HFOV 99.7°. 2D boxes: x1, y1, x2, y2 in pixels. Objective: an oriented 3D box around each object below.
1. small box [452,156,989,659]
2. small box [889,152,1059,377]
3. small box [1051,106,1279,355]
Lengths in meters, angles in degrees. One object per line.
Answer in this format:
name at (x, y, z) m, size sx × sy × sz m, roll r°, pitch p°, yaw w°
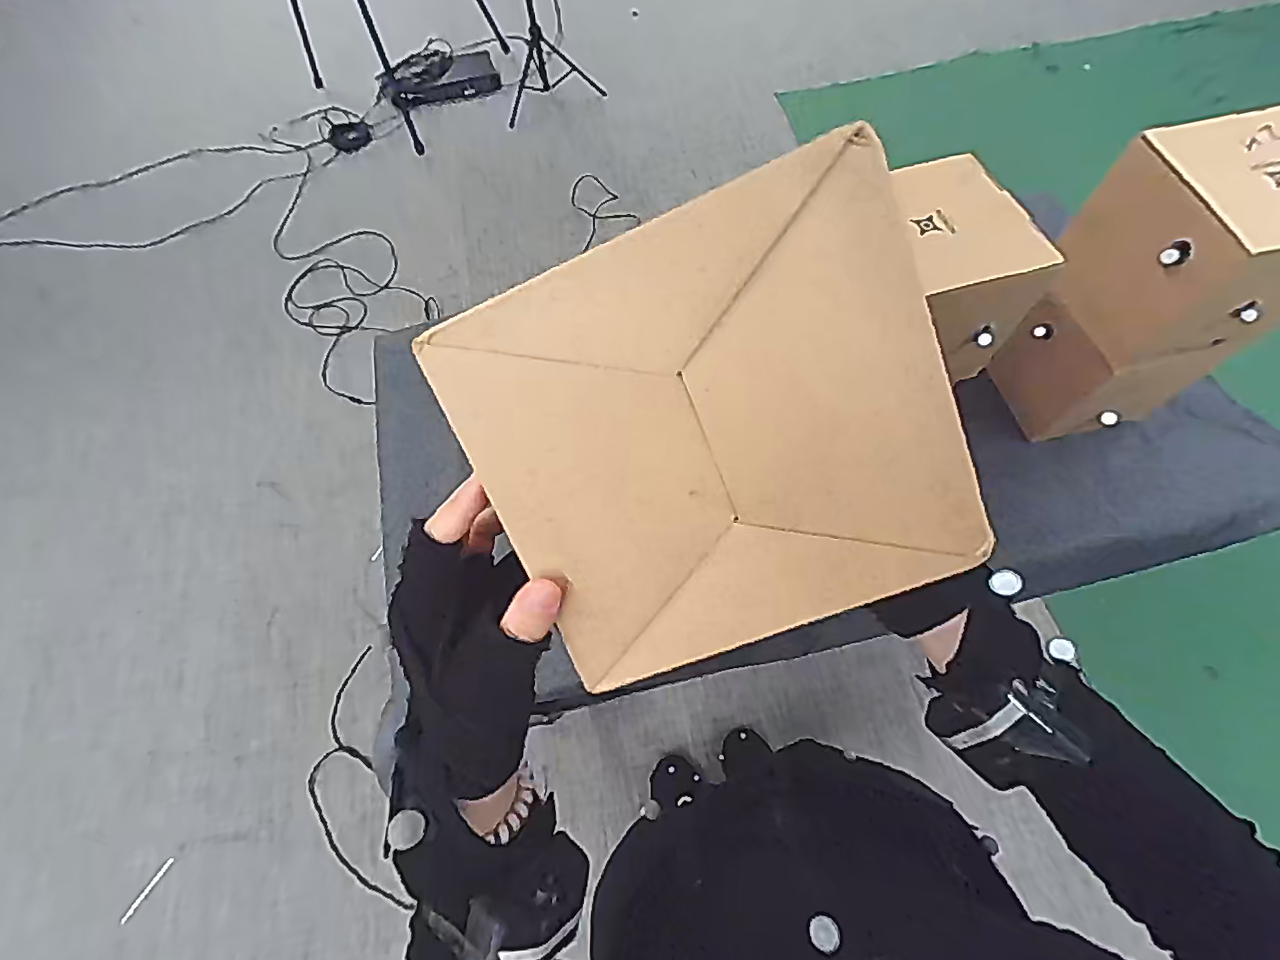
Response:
small box at (0.034, -0.035, 0.284) m, size 0.179 × 0.176 × 0.168 m, roll -22°, pitch 104°, yaw 9°
small box at (0.277, -0.207, 0.582) m, size 0.179 × 0.176 × 0.168 m, roll -15°, pitch 64°, yaw -3°
small box at (0.595, -0.253, 0.580) m, size 0.168 × 0.176 × 0.179 m, roll -10°, pitch 64°, yaw -1°
